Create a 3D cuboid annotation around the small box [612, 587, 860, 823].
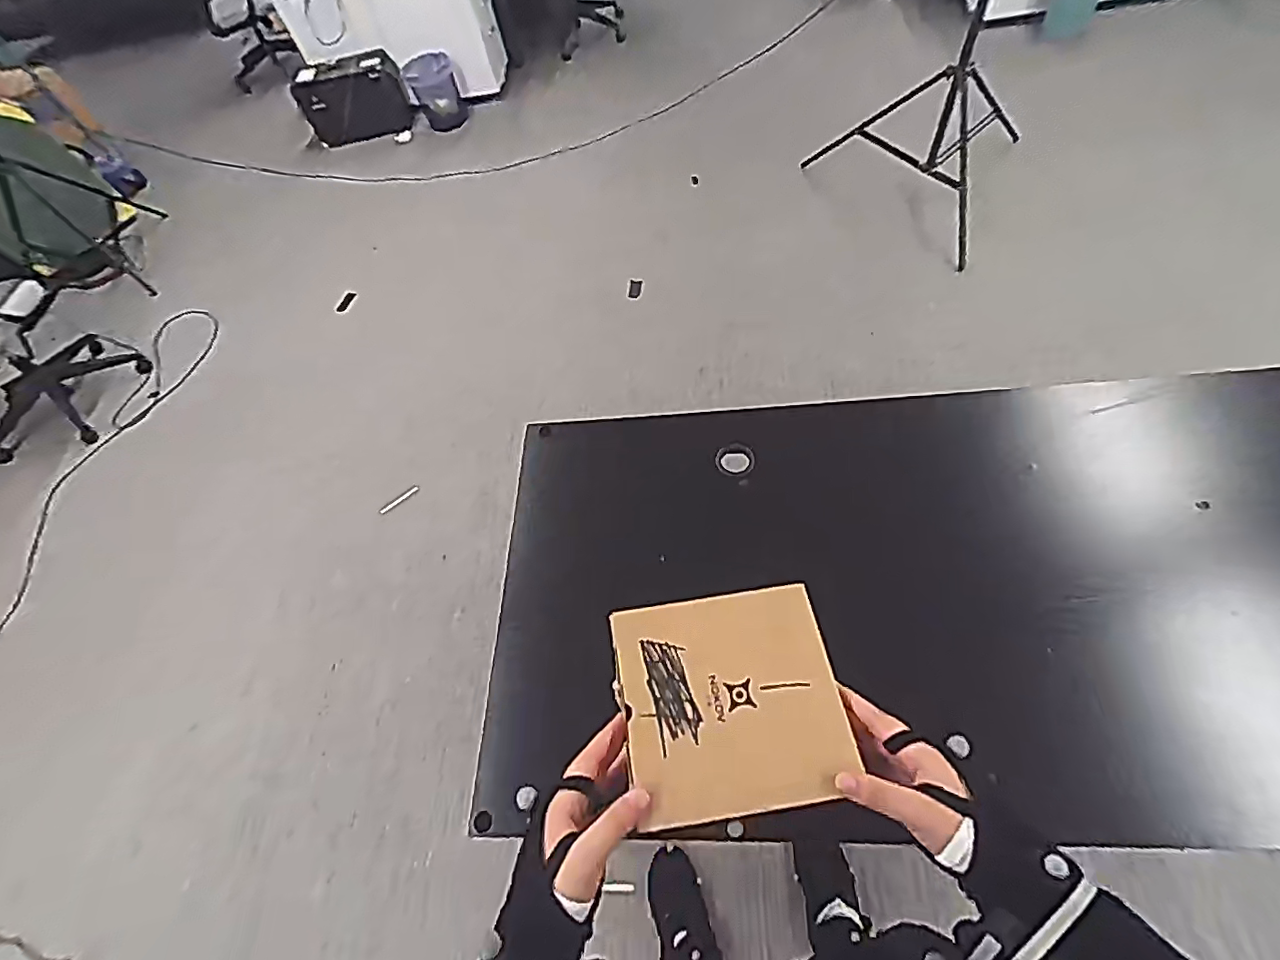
[{"bbox_3d":[0.074,0.218,0.510,0.179,0.176,0.168,-8,58,-2],"label":"small box"}]
